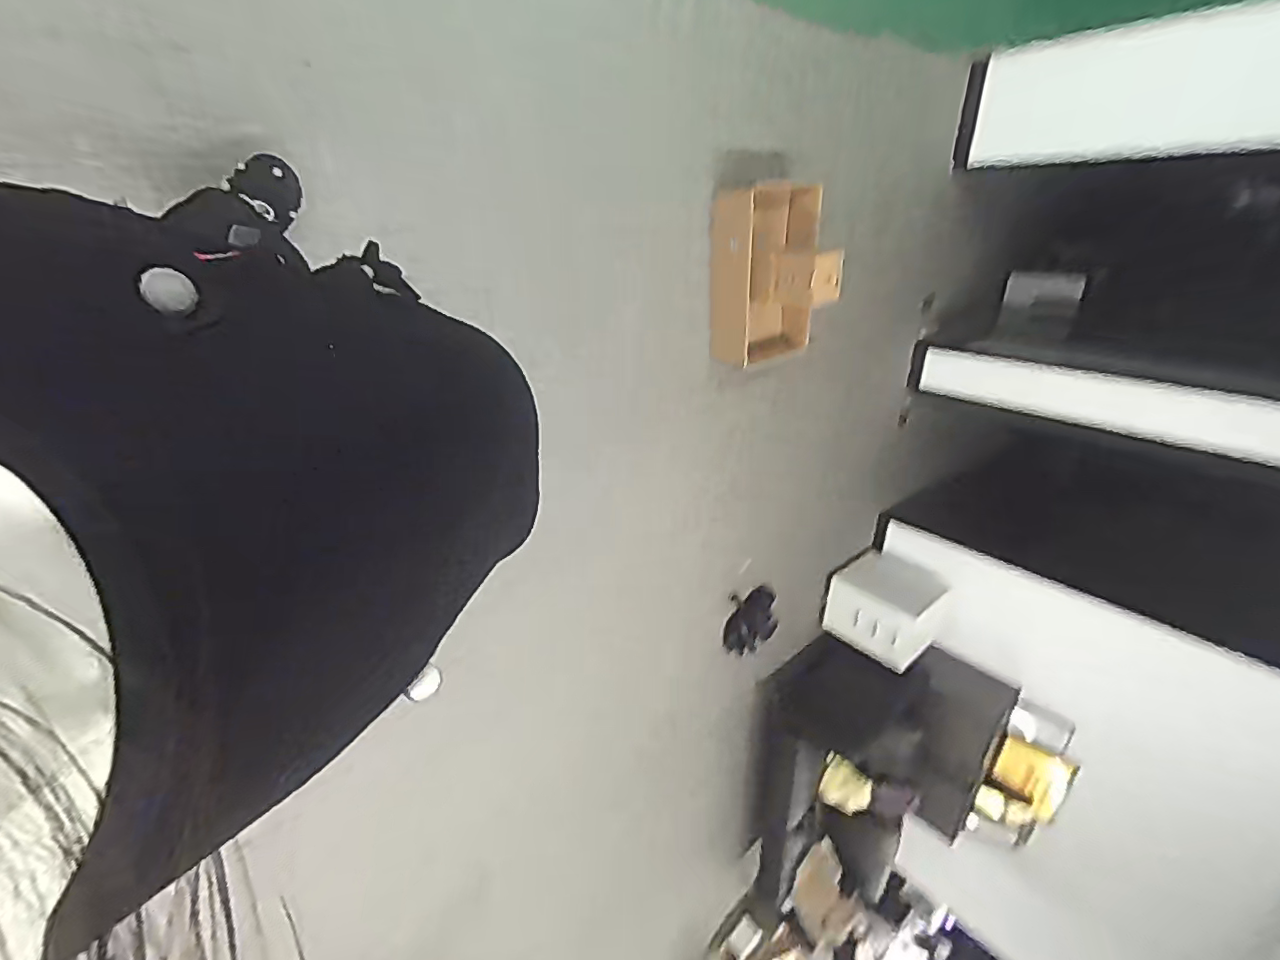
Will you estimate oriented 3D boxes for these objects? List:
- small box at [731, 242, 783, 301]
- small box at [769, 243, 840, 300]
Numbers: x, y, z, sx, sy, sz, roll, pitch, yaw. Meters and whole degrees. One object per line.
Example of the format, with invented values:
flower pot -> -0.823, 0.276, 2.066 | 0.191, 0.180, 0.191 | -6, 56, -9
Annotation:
small box -> 0.450, -0.772, 1.995 | 0.168, 0.176, 0.179 | -26, 126, -34
small box -> 0.571, -0.733, 1.892 | 0.179, 0.176, 0.168 | -24, 124, -34
